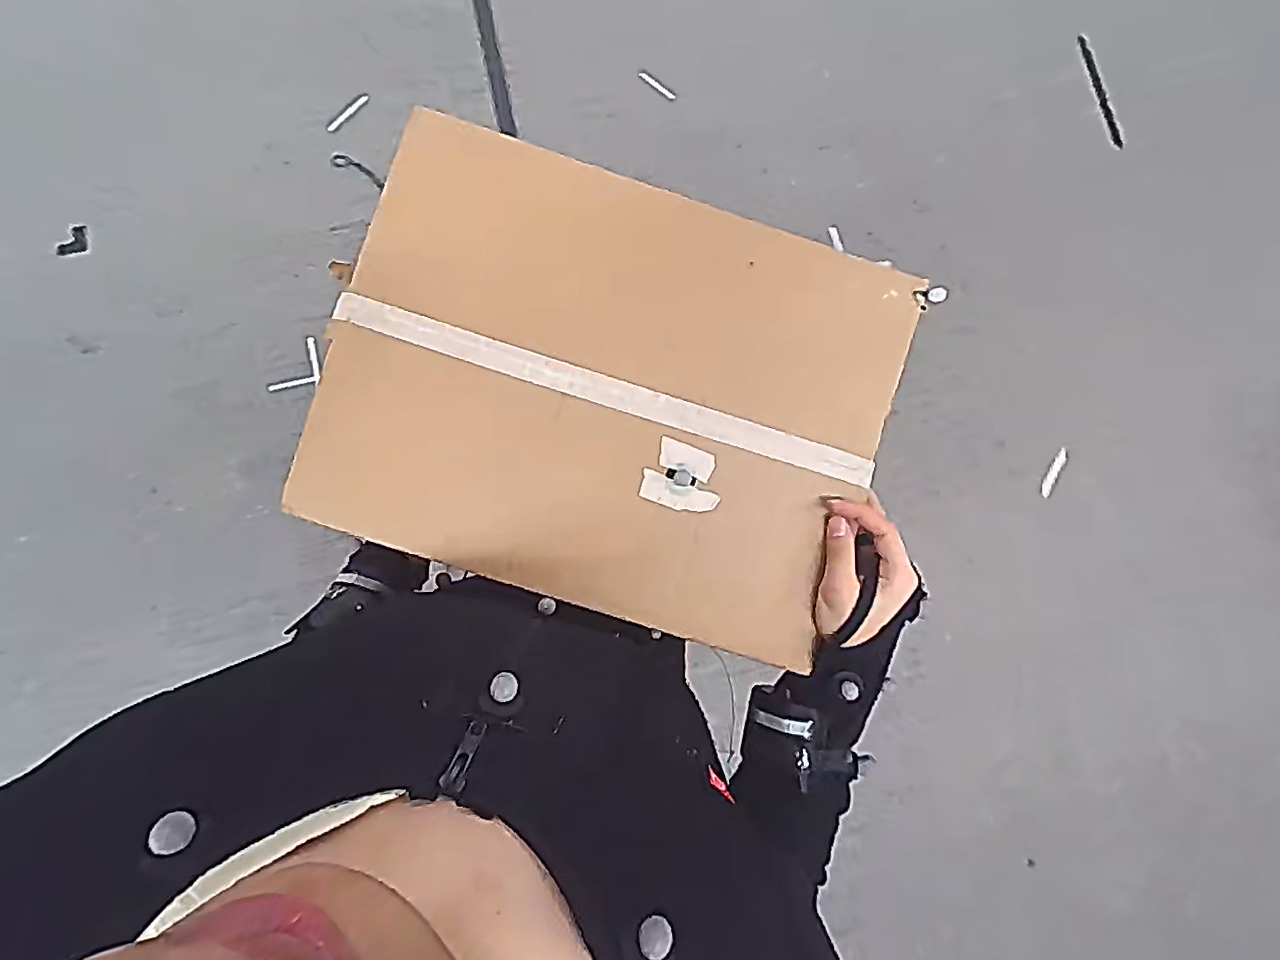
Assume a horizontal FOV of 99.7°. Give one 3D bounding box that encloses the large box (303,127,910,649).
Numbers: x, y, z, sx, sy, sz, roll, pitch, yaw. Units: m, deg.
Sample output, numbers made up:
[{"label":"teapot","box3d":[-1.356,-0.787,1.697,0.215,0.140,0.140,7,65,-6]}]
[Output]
[{"label":"large box","box3d":[-0.028,-0.065,0.556,0.408,0.320,0.320,17,89,-3]}]
